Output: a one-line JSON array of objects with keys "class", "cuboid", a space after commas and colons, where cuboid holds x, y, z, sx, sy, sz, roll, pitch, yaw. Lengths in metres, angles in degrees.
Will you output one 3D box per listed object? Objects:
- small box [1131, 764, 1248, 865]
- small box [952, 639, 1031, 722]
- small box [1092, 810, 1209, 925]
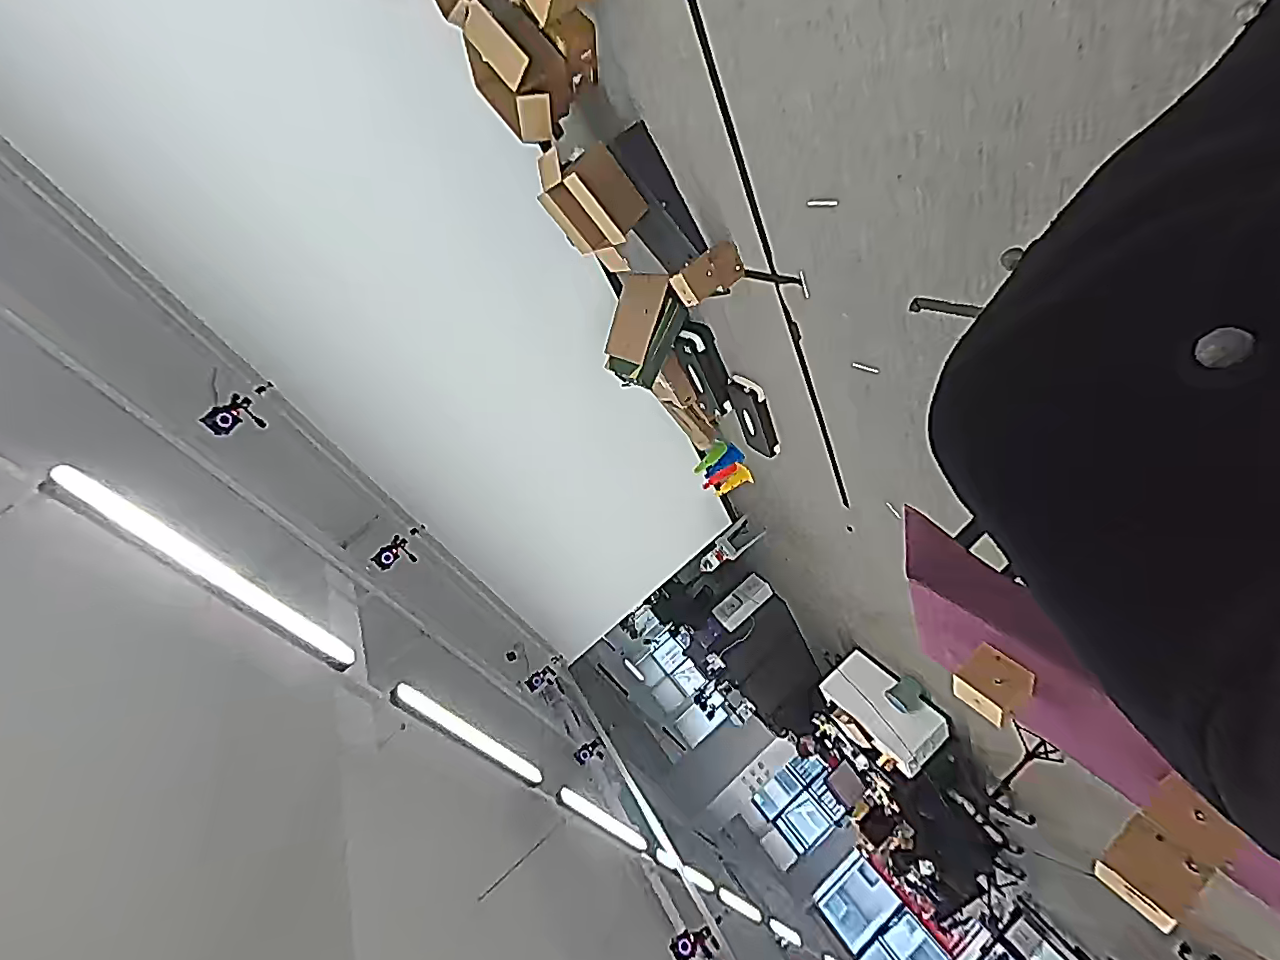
[{"class": "small box", "cuboid": [1.456, 0.899, 1.446, 0.168, 0.176, 0.179, 41, 167, 48]}, {"class": "small box", "cuboid": [1.188, 0.672, 1.829, 0.168, 0.176, 0.179, 39, 166, 48]}, {"class": "small box", "cuboid": [1.338, 1.012, 1.423, 0.168, 0.176, 0.179, 39, 166, 52]}]
